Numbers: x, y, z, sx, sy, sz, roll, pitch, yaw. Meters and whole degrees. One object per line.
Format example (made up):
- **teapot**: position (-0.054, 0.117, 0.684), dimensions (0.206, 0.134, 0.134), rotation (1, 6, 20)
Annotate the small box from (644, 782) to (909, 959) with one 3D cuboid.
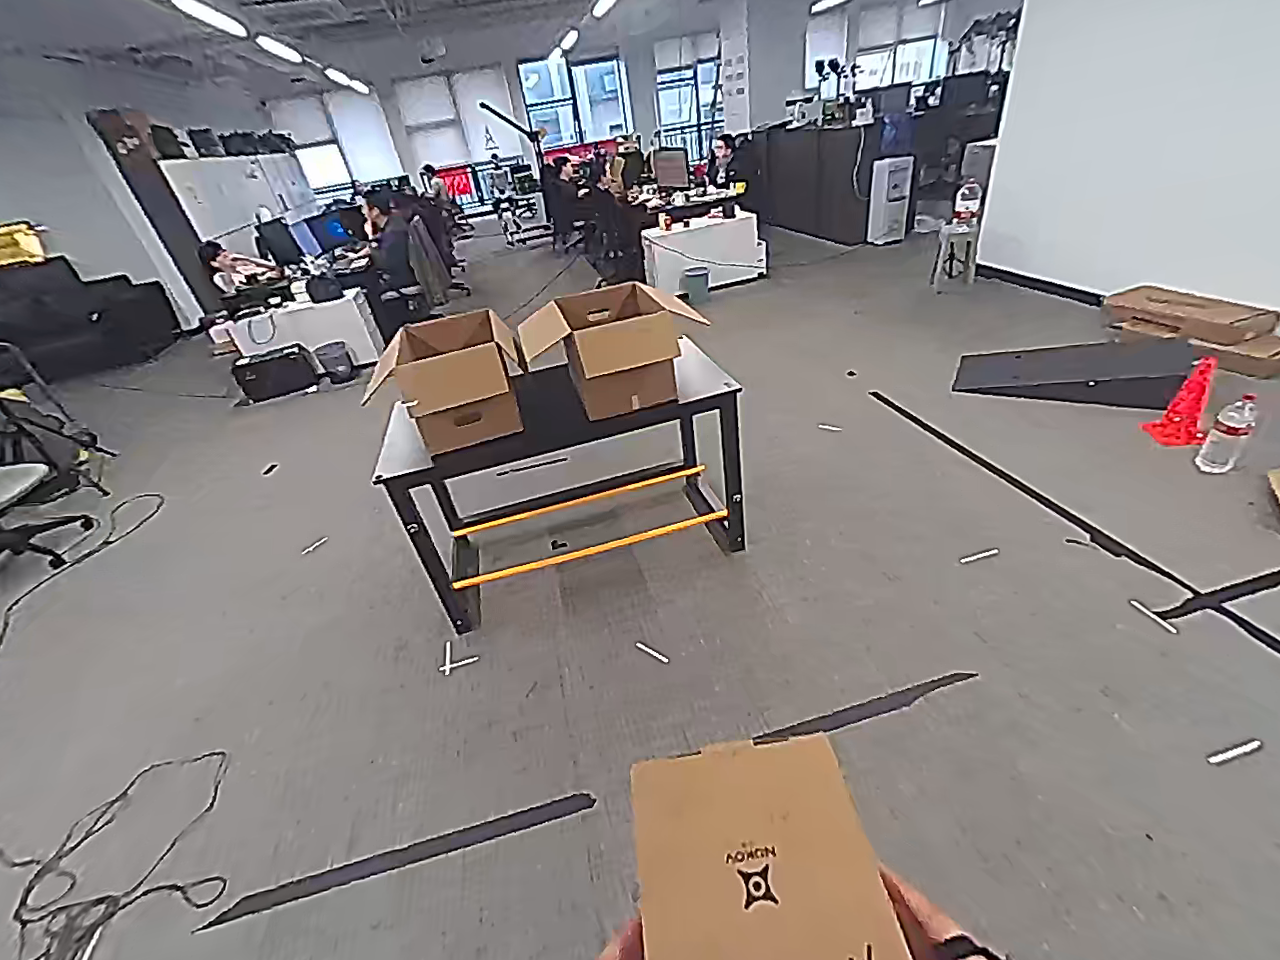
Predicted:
- **small box**: position (0.098, 0.367, 0.411), dimensions (0.168, 0.176, 0.179), rotation (-9, 37, 0)
